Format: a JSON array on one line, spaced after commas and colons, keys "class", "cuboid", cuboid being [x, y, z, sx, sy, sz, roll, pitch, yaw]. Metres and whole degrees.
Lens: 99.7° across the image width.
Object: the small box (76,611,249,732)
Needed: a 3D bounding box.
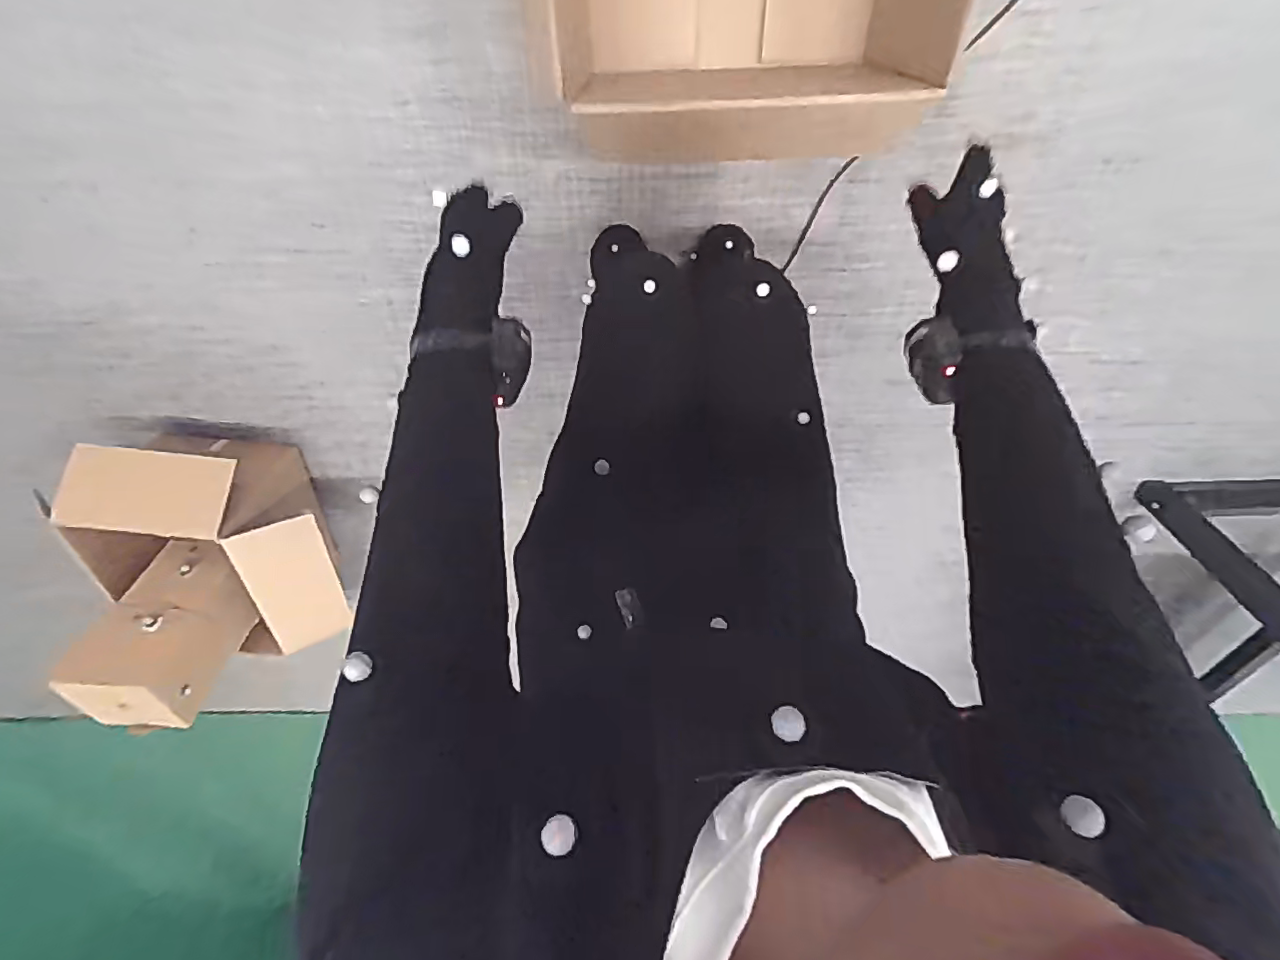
[{"class": "small box", "cuboid": [-0.941, 0.387, 1.091, 0.168, 0.176, 0.179, 3, 132, -4]}]
